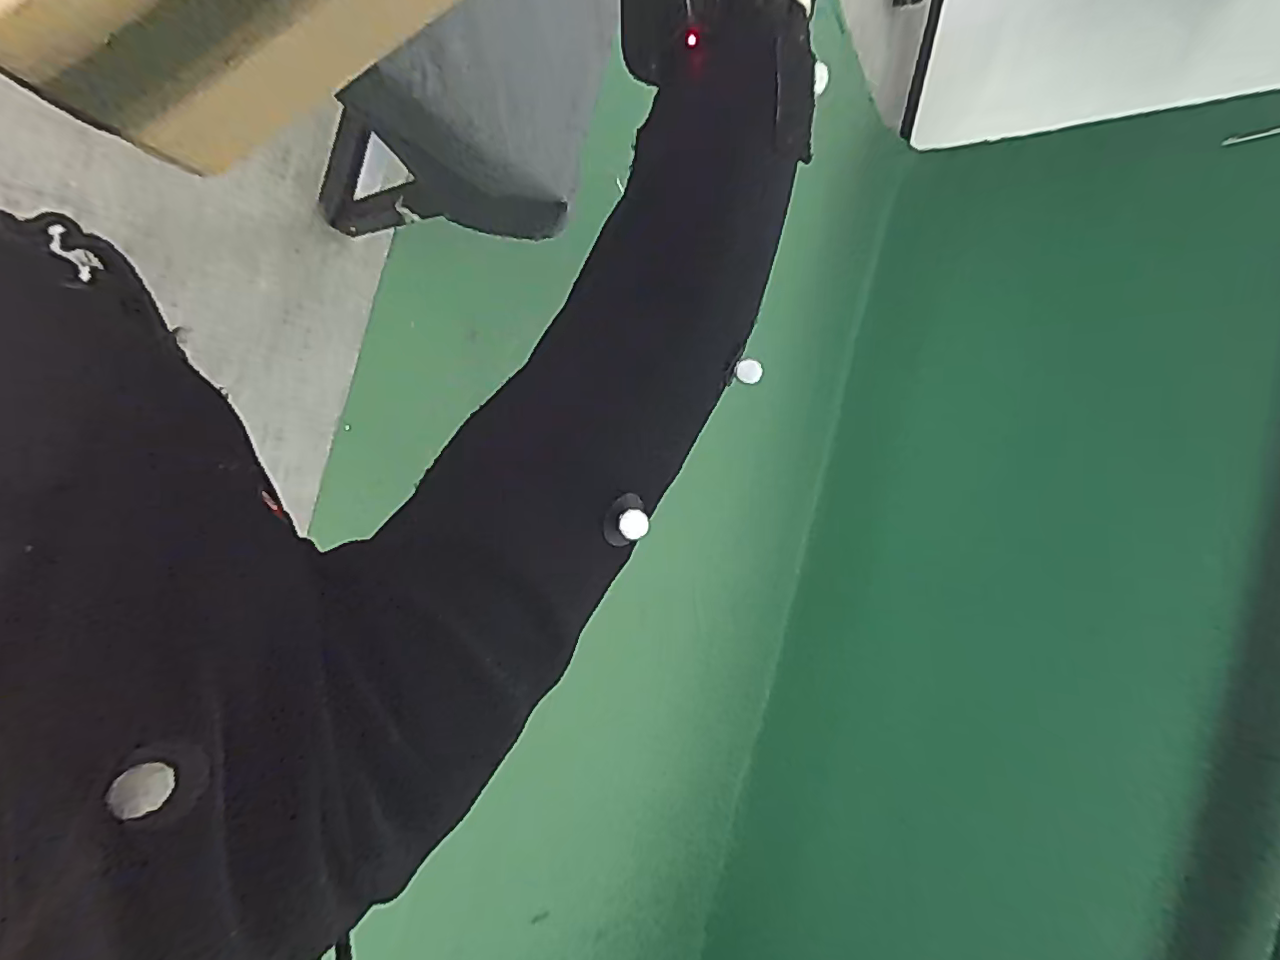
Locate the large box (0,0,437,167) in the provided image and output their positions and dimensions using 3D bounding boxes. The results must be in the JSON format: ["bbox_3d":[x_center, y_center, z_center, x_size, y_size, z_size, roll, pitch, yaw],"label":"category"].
[{"bbox_3d":[-0.212,-0.428,0.249,0.408,0.320,0.320,-42,122,-4],"label":"large box"}]
